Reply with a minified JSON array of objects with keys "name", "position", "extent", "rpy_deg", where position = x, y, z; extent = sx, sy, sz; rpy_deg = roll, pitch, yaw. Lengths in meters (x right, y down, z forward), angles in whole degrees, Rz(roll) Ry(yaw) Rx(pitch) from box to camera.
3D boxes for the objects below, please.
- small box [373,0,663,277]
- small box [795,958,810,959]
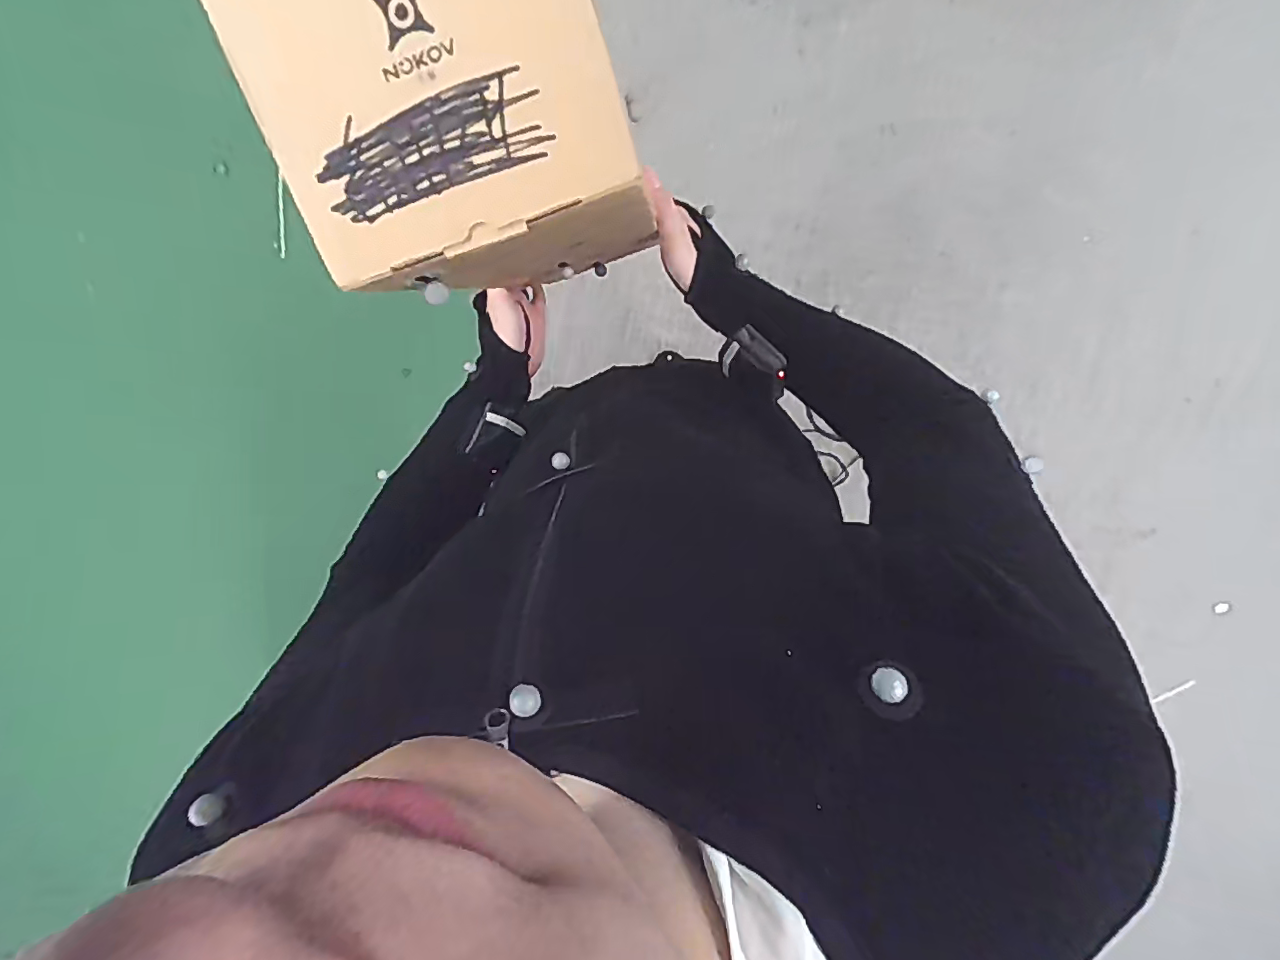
[{"name":"small box","position":[-0.083,-0.287,0.468],"extent":[0.168,0.176,0.179],"rpy_deg":[-16,108,9]},{"name":"small box","position":[0.373,1.085,1.047],"extent":[0.168,0.176,0.179],"rpy_deg":[9,105,2]}]
